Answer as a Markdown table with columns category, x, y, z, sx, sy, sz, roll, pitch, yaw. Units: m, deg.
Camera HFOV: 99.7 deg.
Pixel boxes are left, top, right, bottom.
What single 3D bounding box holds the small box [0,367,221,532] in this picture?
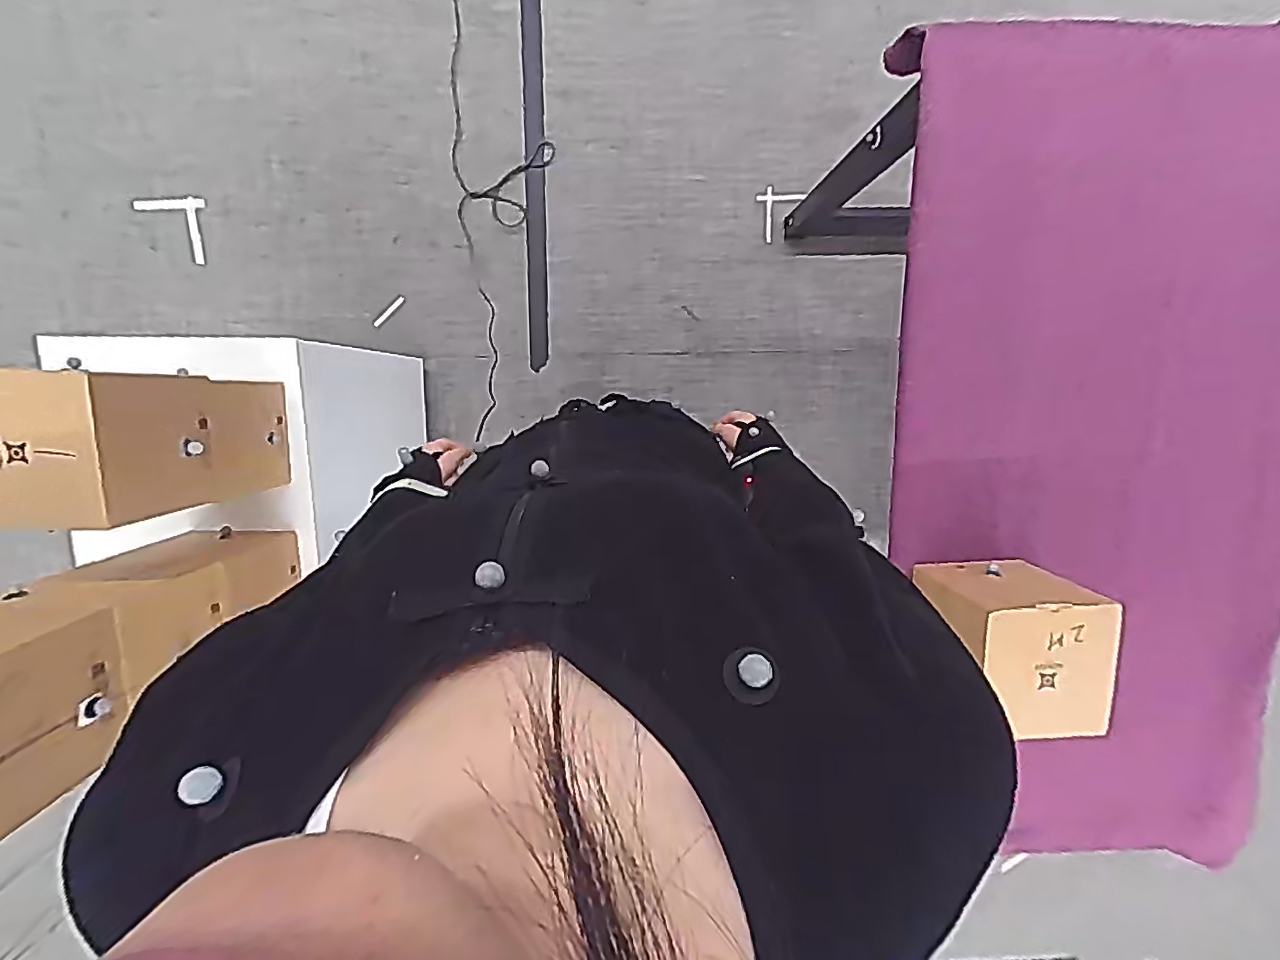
| category | x | y | z | sx | sy | sz | roll | pitch | yaw |
| --- | --- | --- | --- | --- | --- | --- | --- | --- | --- |
| small box | -0.635 | -0.042 | 0.622 | 0.179 | 0.176 | 0.168 | 2 | 100 | -3 |

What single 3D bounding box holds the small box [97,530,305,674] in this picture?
| category | x | y | z | sx | sy | sz | roll | pitch | yaw |
| --- | --- | --- | --- | --- | --- | --- | --- | --- | --- |
| small box | -0.651 | 0.177 | 0.824 | 0.179 | 0.176 | 0.168 | 1 | 100 | -1 |

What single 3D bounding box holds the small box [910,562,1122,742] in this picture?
| category | x | y | z | sx | sy | sz | roll | pitch | yaw |
| --- | --- | --- | --- | --- | --- | --- | --- | --- | --- |
| small box | 0.488 | 0.222 | 0.731 | 0.168 | 0.176 | 0.179 | -2 | 99 | -2 |

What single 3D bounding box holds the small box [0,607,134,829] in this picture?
| category | x | y | z | sx | sy | sz | roll | pitch | yaw |
| --- | --- | --- | --- | --- | --- | --- | --- | --- | --- |
| small box | -0.642 | 0.227 | 0.504 | 0.179 | 0.176 | 0.168 | -1 | 100 | -2 |

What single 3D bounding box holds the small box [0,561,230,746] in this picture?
| category | x | y | z | sx | sy | sz | roll | pitch | yaw |
| --- | --- | --- | --- | --- | --- | --- | --- | --- | --- |
| small box | -0.645 | 0.203 | 0.664 | 0.179 | 0.176 | 0.168 | -1 | 99 | -1 |
